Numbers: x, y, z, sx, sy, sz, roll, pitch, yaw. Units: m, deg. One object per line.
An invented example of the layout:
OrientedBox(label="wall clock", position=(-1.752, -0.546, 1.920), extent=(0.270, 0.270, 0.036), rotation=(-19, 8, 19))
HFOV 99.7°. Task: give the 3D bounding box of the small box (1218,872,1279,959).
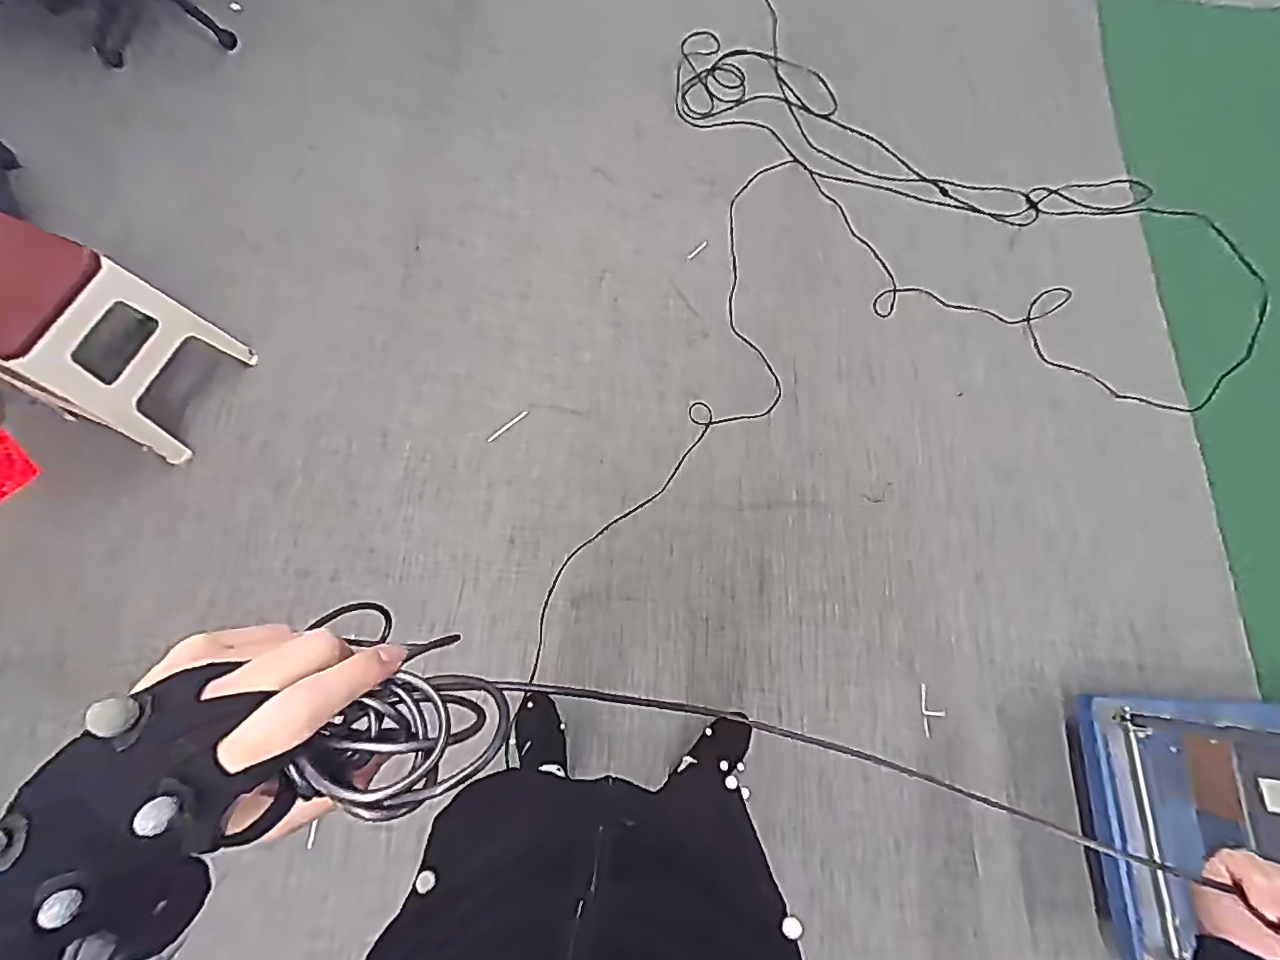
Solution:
OrientedBox(label="small box", position=(1.382, 0.941, 1.119), extent=(0.179, 0.176, 0.168), rotation=(5, 72, -1))
